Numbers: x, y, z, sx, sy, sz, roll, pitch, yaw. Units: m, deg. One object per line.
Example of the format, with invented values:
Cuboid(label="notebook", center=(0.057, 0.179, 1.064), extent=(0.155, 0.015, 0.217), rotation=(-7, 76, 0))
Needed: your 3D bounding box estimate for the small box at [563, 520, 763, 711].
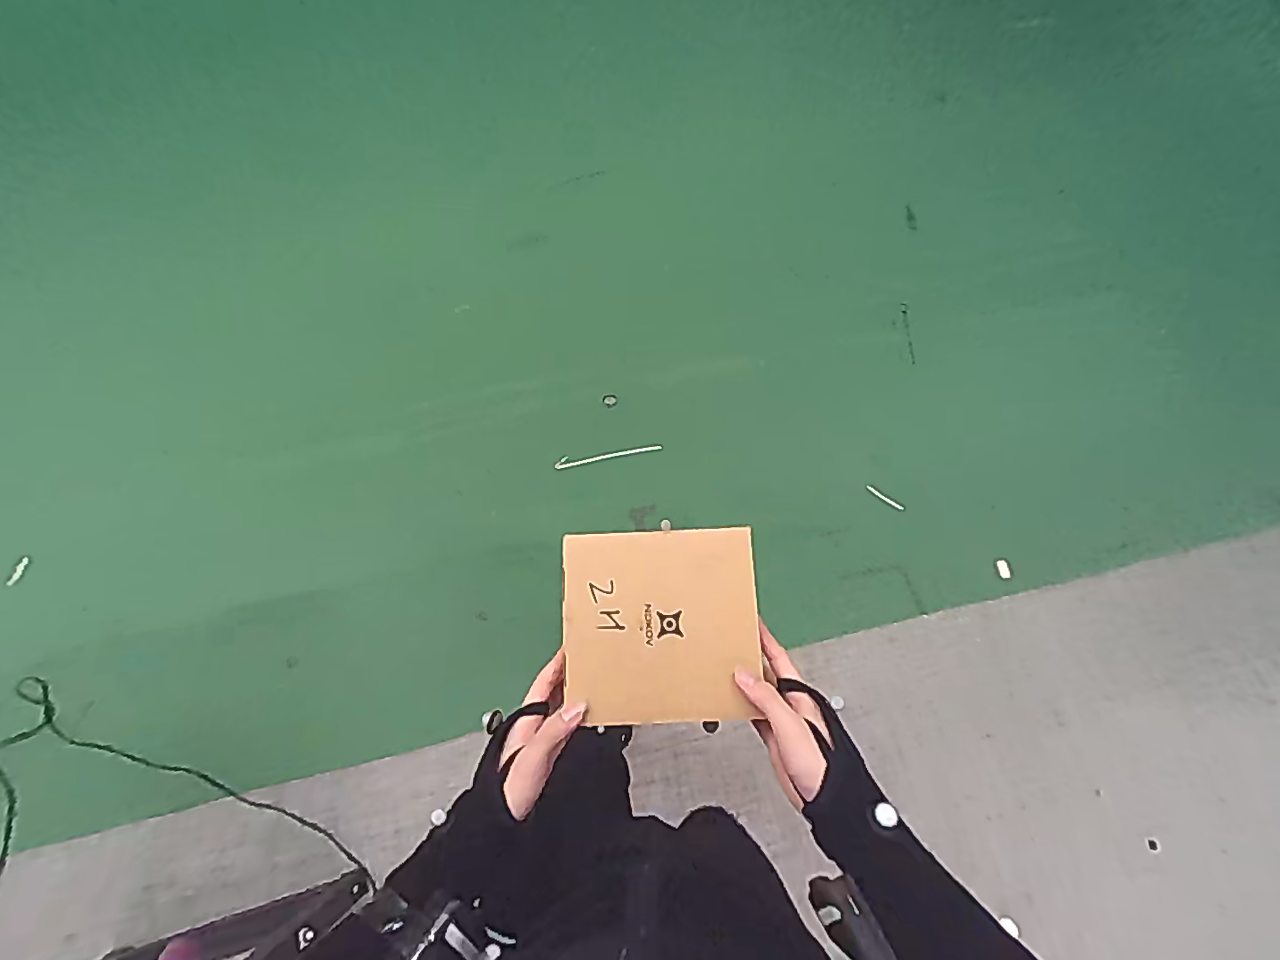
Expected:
Cuboid(label="small box", center=(0.020, 0.135, 0.560), extent=(0.179, 0.176, 0.168), rotation=(-3, 77, 2))
